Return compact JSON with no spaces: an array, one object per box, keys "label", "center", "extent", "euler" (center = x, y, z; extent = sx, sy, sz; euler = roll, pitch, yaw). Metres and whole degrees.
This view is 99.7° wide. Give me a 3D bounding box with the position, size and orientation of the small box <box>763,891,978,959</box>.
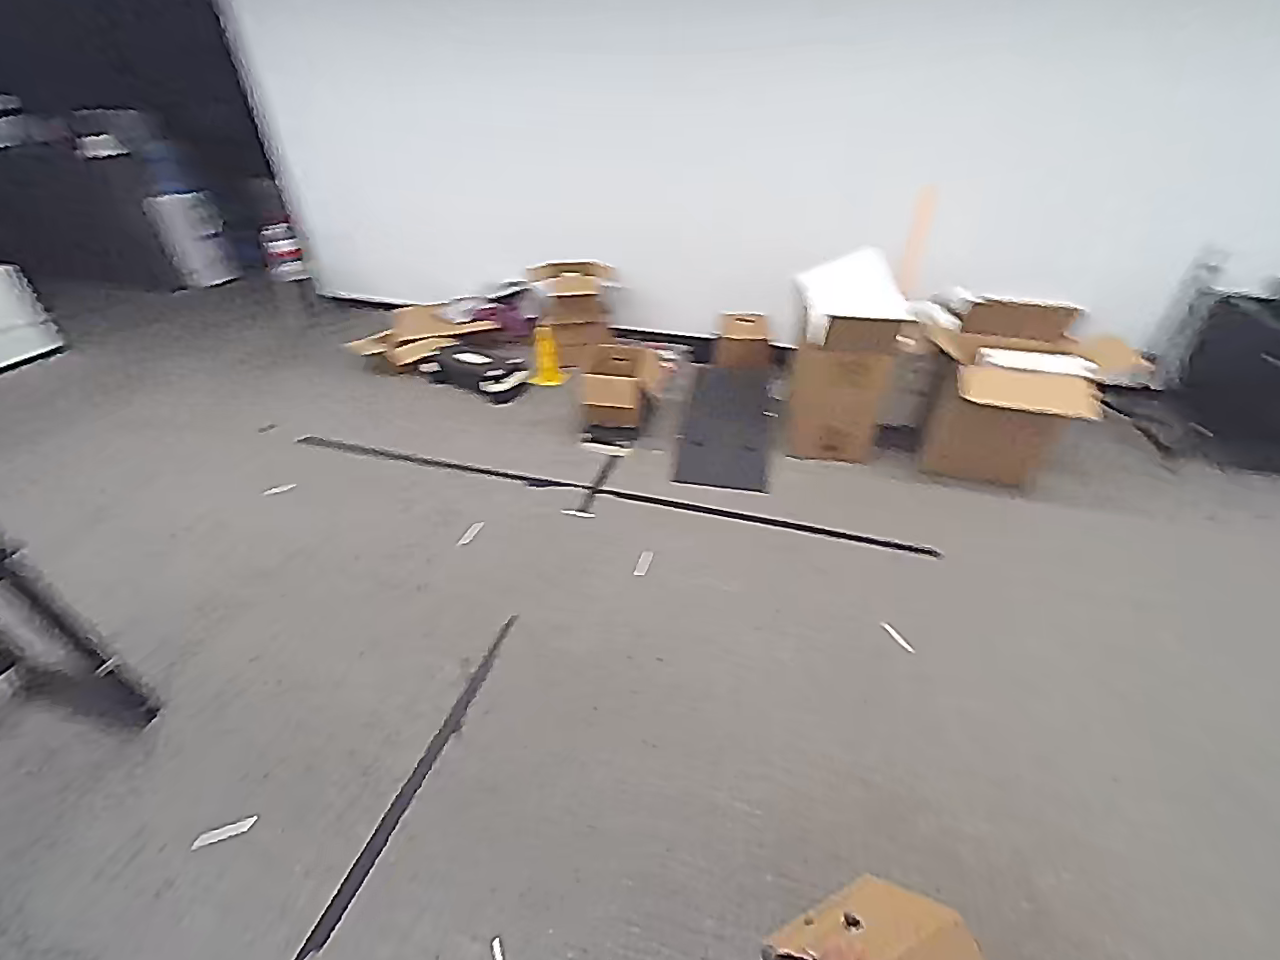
[{"label":"small box","center":[0.252,0.556,0.547],"extent":[0.168,0.176,0.179],"euler":[-17,69,-17]}]
